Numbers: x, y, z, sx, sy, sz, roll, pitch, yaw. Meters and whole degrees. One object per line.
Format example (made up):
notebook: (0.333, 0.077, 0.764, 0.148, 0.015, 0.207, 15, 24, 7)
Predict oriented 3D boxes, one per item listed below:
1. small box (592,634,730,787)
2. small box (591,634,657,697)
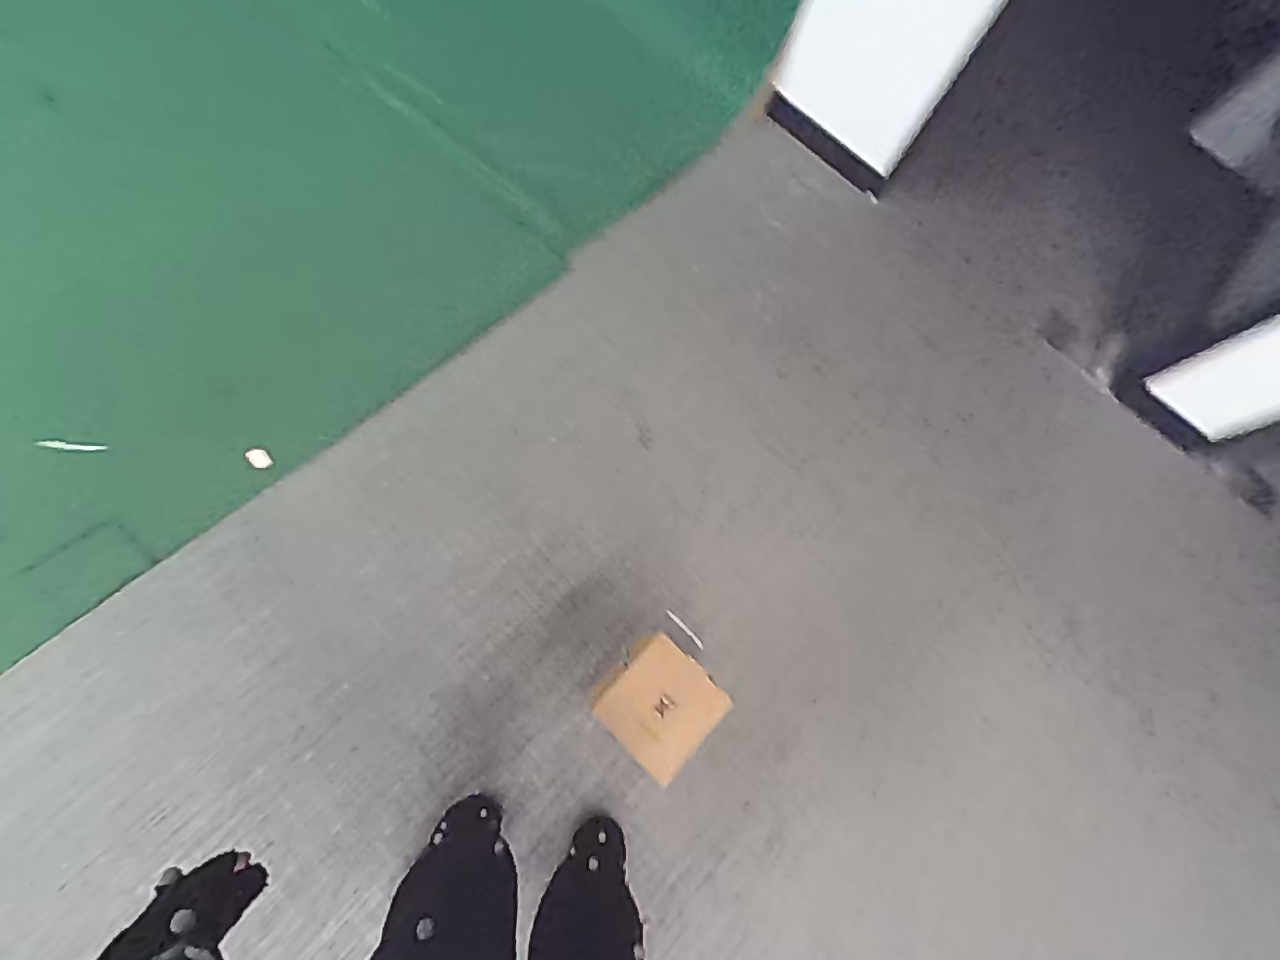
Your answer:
small box: (0.026, 0.397, 0.958, 0.168, 0.176, 0.179, 43, 72, 9)
small box: (0.016, 0.438, 1.116, 0.179, 0.176, 0.168, 44, 71, 7)
